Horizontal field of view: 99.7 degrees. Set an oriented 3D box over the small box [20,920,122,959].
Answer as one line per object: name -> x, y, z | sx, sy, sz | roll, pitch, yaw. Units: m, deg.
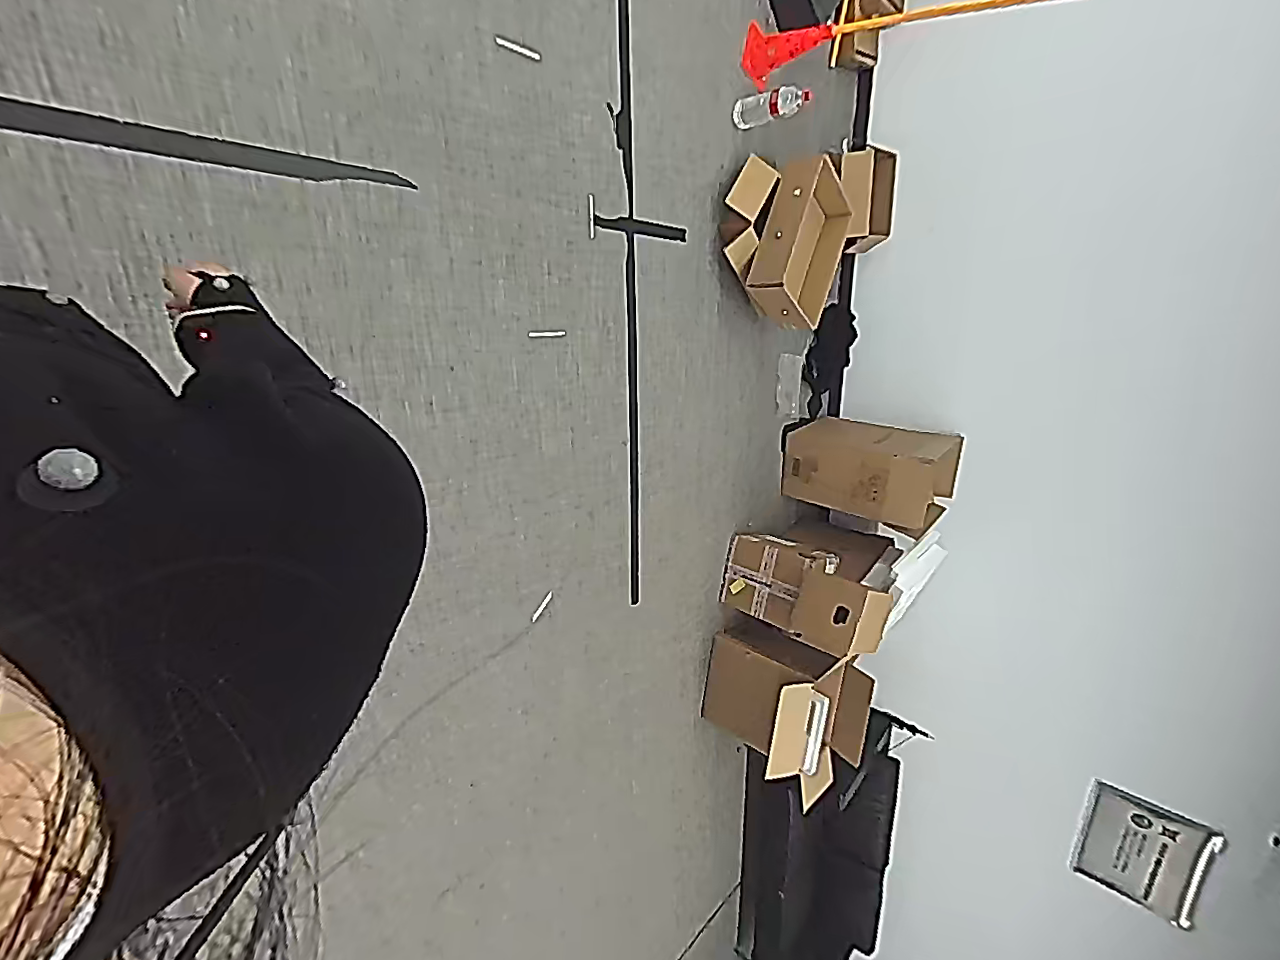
small box -> -1.234, 1.105, 1.158 | 0.168, 0.176, 0.179 | -21, 116, -43
